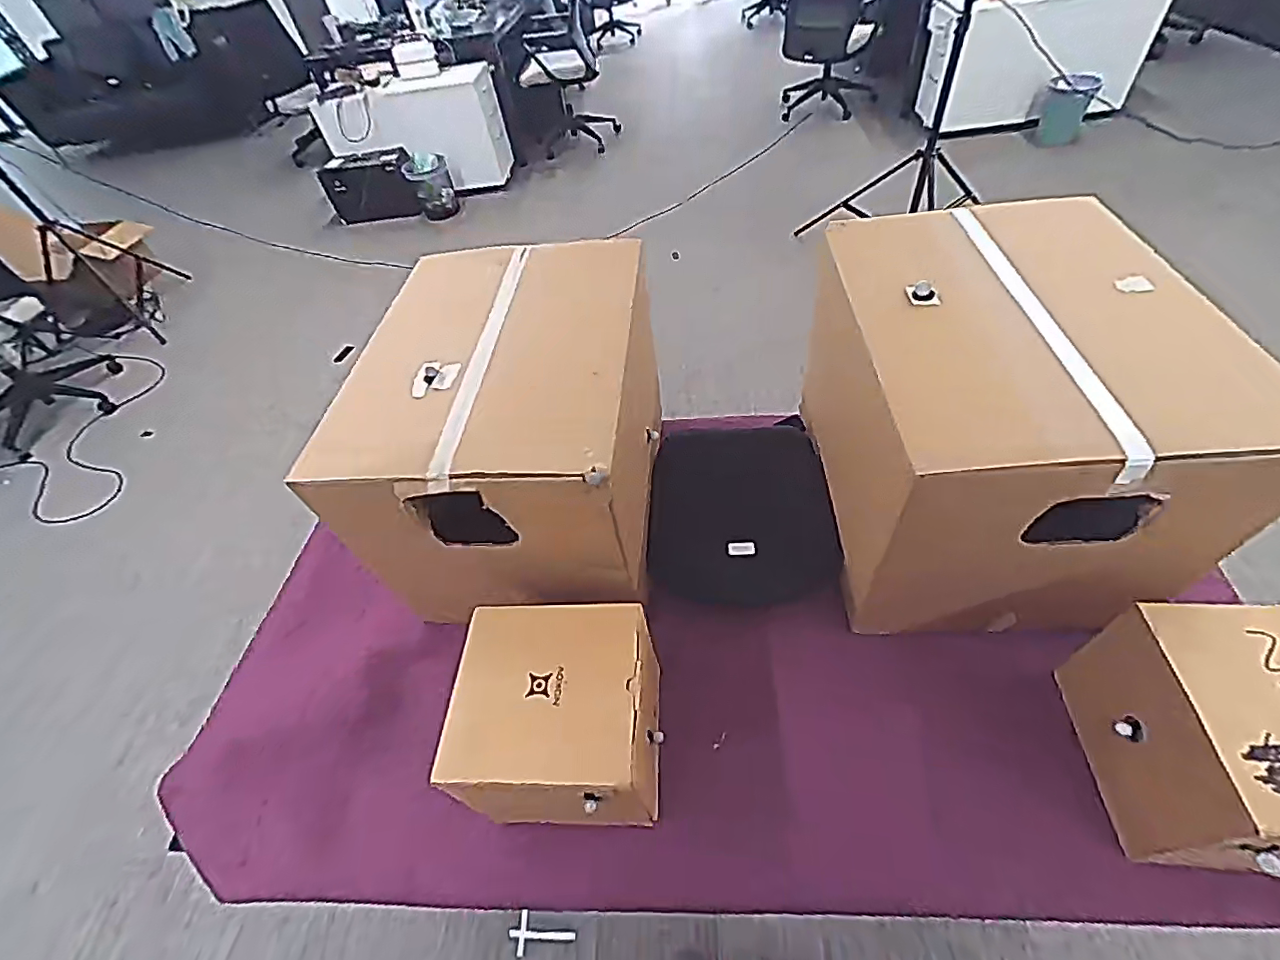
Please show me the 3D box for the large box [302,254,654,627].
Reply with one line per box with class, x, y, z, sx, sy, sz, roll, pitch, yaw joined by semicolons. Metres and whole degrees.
large box;-0.149;-0.049;0.733;0.320;0.320;0.408;-2;53;8
